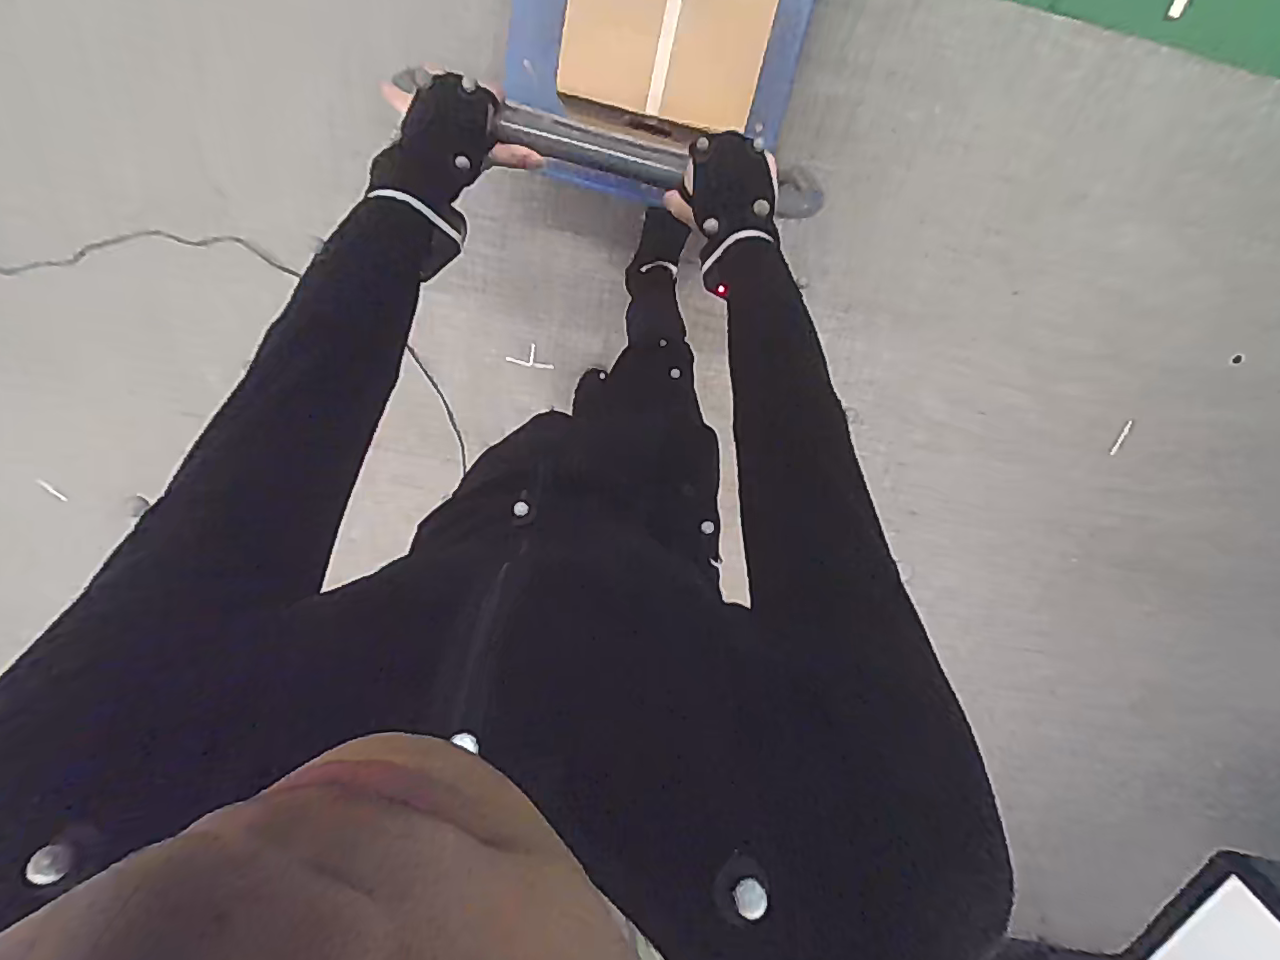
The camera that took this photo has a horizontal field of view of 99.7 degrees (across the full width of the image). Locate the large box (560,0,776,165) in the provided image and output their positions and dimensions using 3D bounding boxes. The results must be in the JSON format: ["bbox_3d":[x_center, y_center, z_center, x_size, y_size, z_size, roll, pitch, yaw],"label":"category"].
[{"bbox_3d":[0.060,-0.828,0.946,0.320,0.320,0.408,11,112,-5],"label":"large box"}]
